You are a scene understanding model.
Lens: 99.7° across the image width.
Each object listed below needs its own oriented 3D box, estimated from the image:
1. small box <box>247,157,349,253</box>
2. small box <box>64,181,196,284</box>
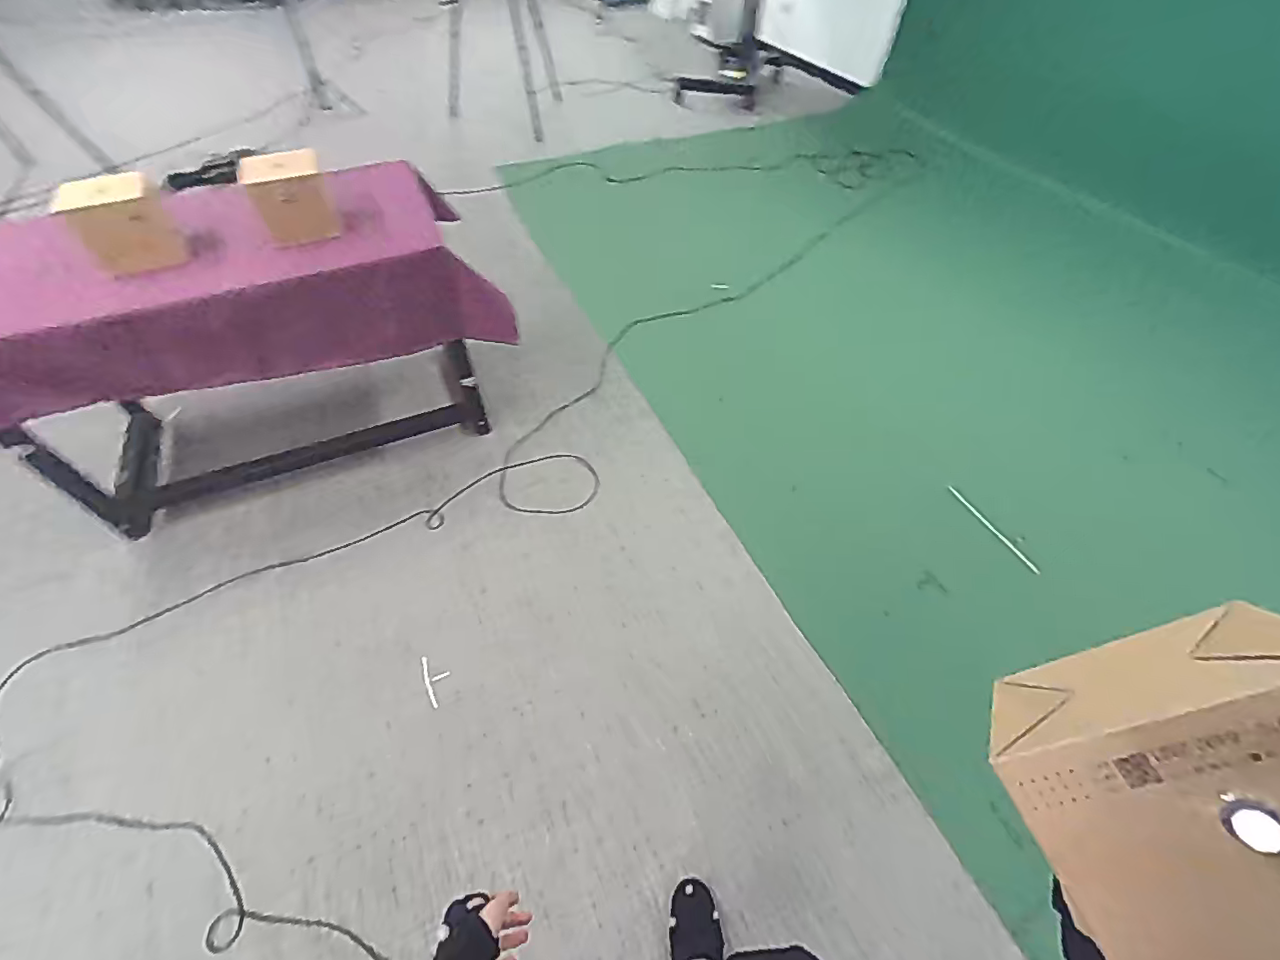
[{"bbox_3d":[-0.907,-0.730,1.442,0.179,0.176,0.168,-18,54,-15],"label":"small box"},{"bbox_3d":[-1.262,-0.616,1.351,0.179,0.176,0.168,-22,54,-18],"label":"small box"}]
